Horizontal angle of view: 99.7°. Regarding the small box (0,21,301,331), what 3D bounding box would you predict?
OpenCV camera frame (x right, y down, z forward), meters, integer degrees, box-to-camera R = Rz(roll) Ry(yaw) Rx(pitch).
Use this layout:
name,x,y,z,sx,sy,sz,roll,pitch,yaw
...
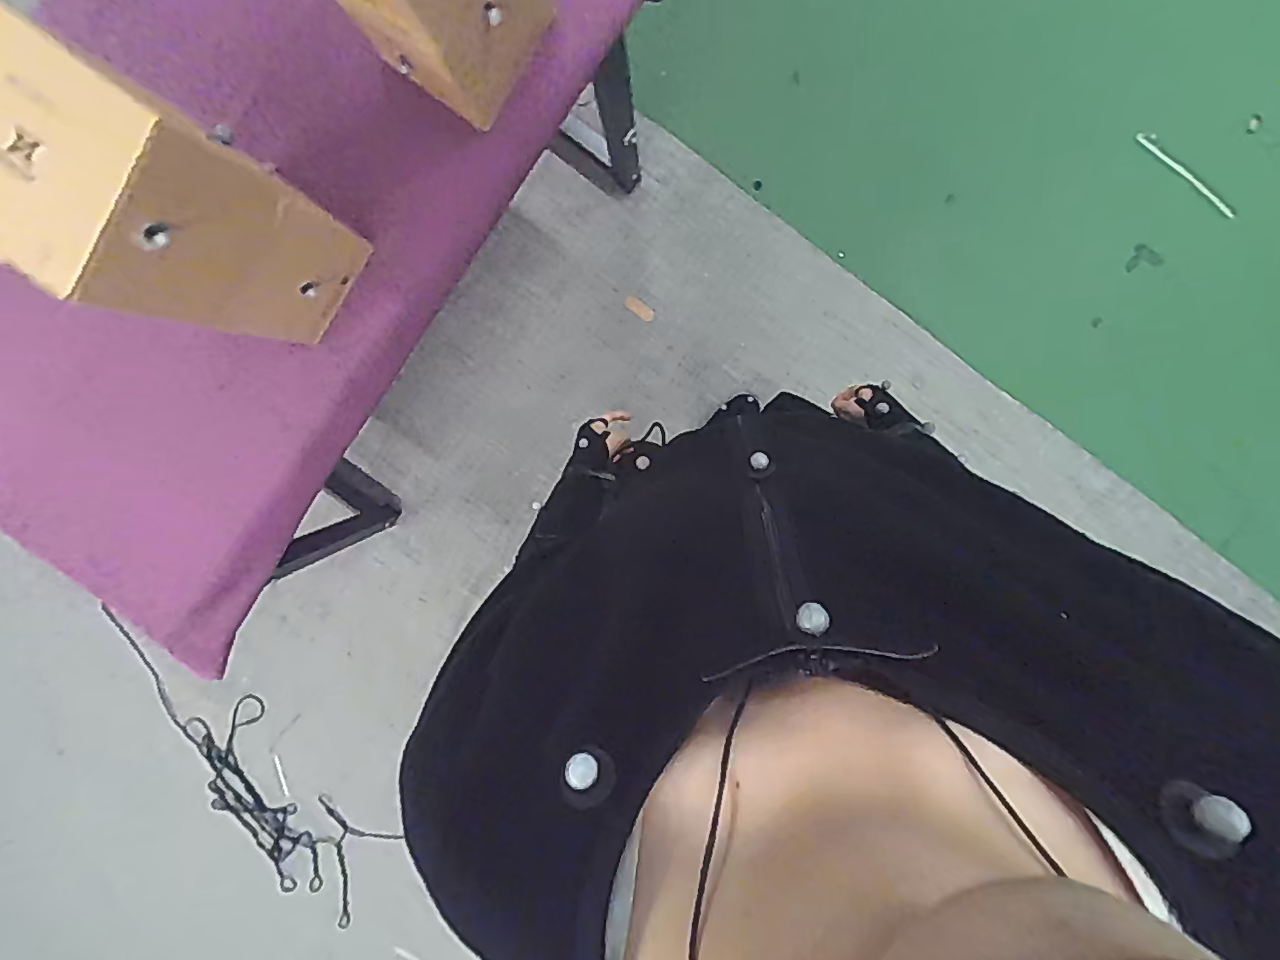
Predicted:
name,x,y,z,sx,sy,sz,roll,pitch,yaw
small box,-0.484,-0.269,0.532,0.168,0.176,0.179,36,99,-2

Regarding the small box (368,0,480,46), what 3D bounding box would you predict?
name,x,y,z,sx,sy,sz,roll,pitch,yaw
small box,-0.234,-0.542,0.472,0.179,0.176,0.168,35,101,-1

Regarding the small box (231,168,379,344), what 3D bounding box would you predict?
name,x,y,z,sx,sy,sz,roll,pitch,yaw
small box,-0.479,-0.291,0.693,0.179,0.176,0.168,36,99,-1

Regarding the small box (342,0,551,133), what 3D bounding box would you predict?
name,x,y,z,sx,sy,sz,roll,pitch,yaw
small box,-0.222,-0.565,0.635,0.168,0.176,0.179,35,101,-2

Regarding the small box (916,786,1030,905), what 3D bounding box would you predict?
name,x,y,z,sx,sy,sz,roll,pitch,yaw
small box,0.890,0.981,1.468,0.168,0.176,0.179,28,99,1
